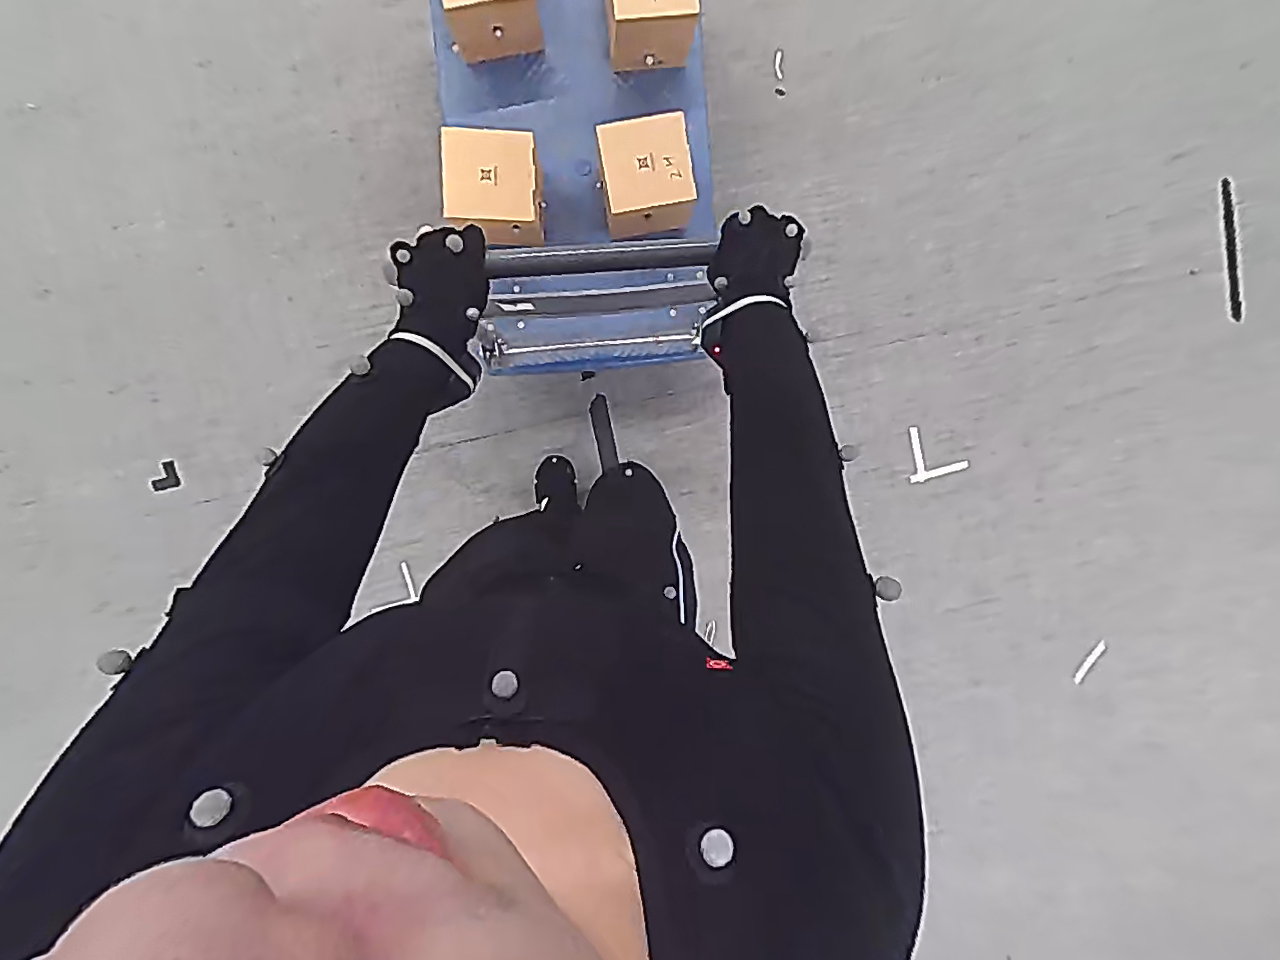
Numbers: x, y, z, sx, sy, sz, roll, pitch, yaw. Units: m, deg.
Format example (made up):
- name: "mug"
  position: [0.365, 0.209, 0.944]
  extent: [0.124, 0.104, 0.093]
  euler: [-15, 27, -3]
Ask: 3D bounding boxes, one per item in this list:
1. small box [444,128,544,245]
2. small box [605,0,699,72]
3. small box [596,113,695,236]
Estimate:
- name: "small box"
  position: [-0.296, -0.599, 1.124]
  extent: [0.179, 0.176, 0.168]
  euler: [0, 97, -5]
- name: "small box"
  position: [0.018, -0.974, 1.094]
  extent: [0.168, 0.176, 0.179]
  euler: [-7, 99, -3]
- name: "small box"
  position: [0.008, -0.633, 1.140]
  extent: [0.179, 0.176, 0.168]
  euler: [-11, 99, -3]
